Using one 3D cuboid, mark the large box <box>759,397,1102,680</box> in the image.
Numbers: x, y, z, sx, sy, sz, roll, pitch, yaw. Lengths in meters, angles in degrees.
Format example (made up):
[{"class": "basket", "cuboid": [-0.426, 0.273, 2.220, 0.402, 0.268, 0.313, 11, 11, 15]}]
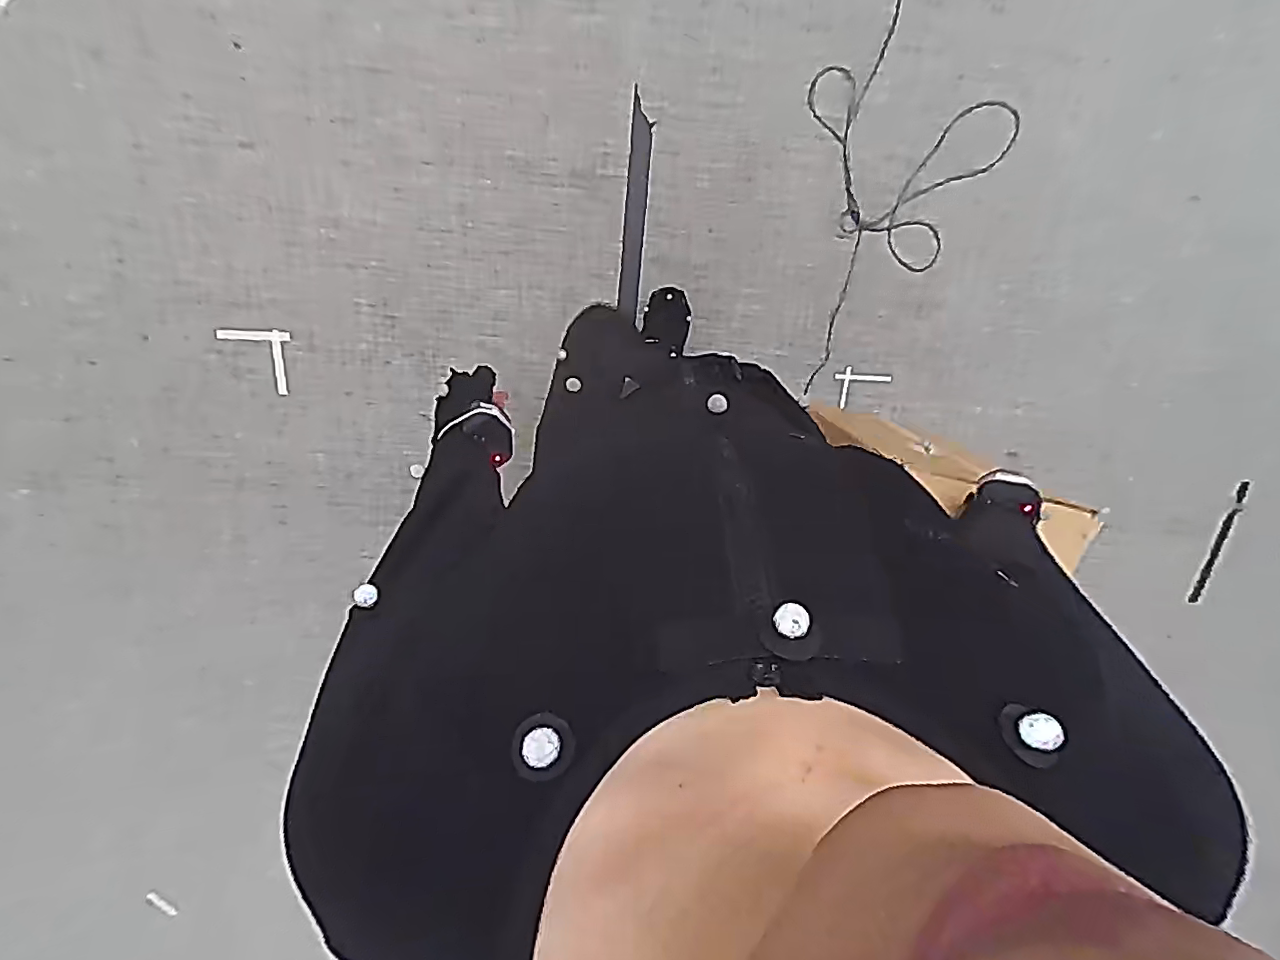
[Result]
[{"class": "large box", "cuboid": [0.448, 0.078, 0.963, 0.320, 0.408, 0.320, 12, 111, -7]}]
